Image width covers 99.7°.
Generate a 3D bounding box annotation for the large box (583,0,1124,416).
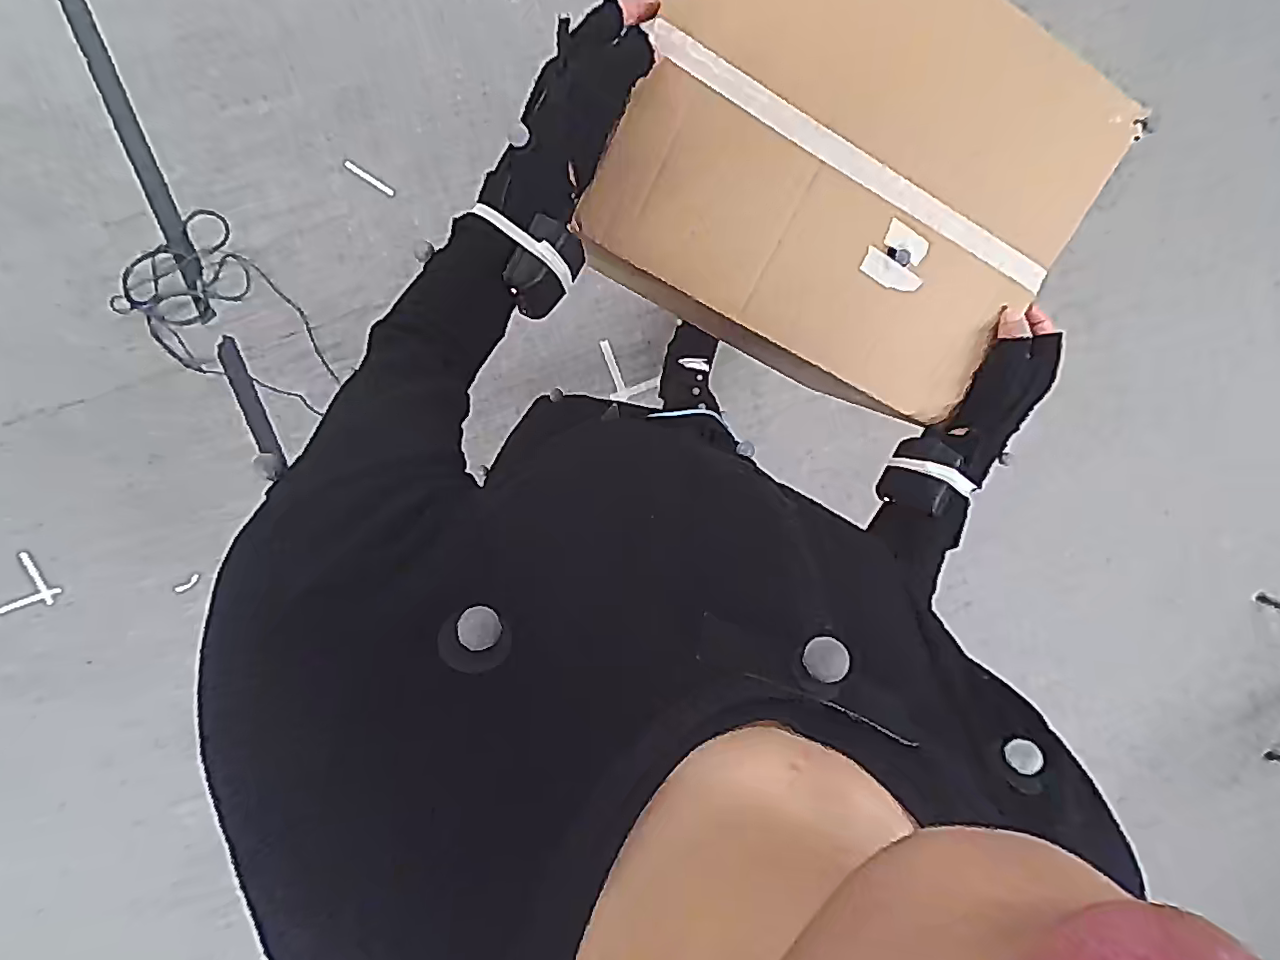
[{"bbox_3d":[0.176,-0.317,0.615,0.408,0.320,0.320,25,104,-13],"label":"large box"}]
